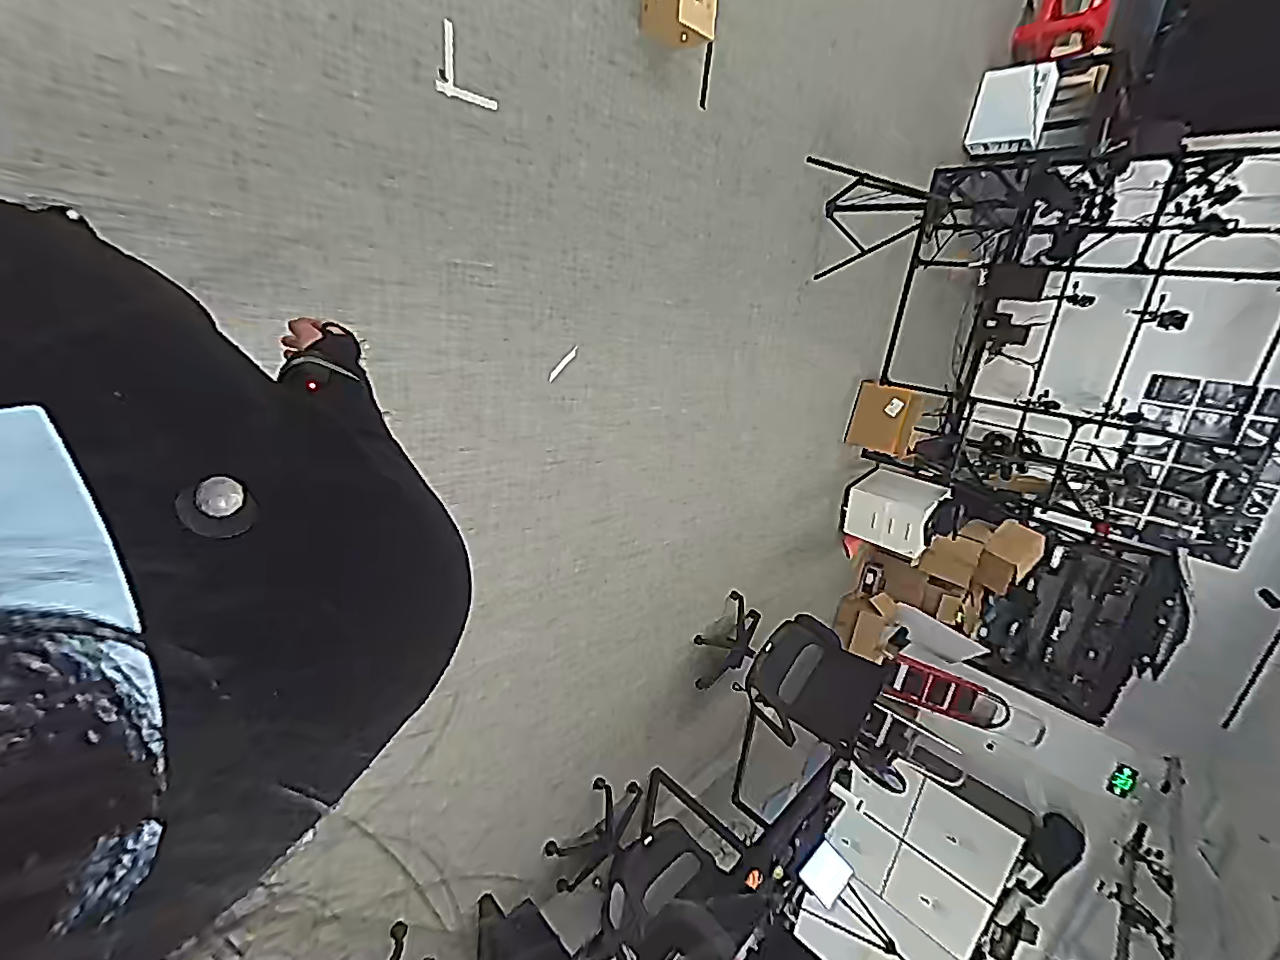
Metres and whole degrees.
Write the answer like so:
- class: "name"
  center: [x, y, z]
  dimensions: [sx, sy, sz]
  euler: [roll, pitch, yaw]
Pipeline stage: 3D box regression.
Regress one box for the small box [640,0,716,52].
- class: "small box"
  center: [0.119, -1.481, 1.695]
  dimensions: [0.179, 0.176, 0.168]
  euler: [-16, 119, -44]
